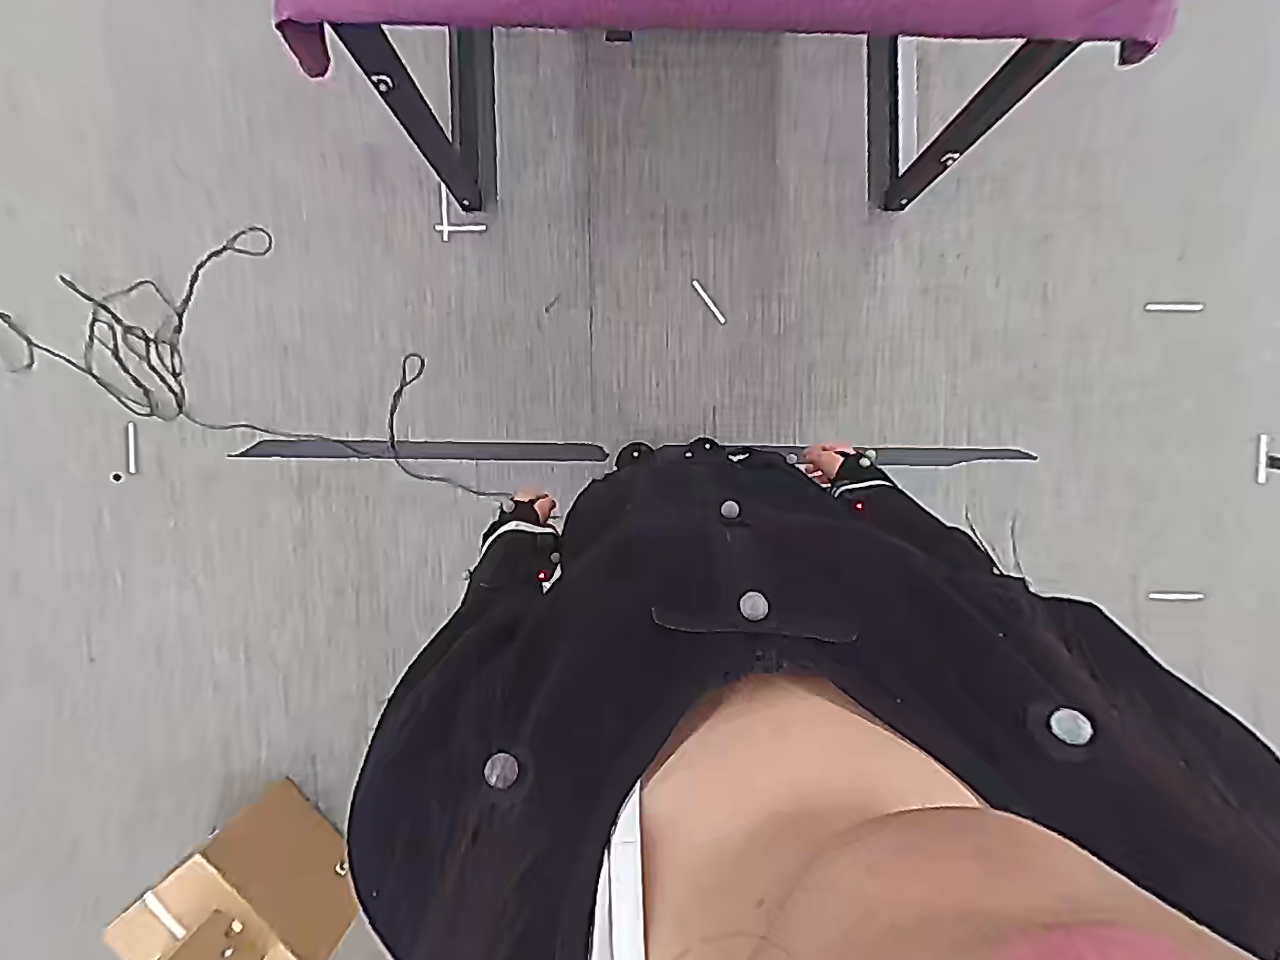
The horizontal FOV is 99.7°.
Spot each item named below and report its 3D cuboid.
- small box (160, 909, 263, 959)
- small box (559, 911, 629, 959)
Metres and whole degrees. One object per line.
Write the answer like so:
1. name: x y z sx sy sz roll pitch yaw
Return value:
1. small box: -0.972 1.093 1.159 0.179 0.176 0.168 -41 92 1
2. small box: -0.119 1.329 1.467 0.168 0.176 0.179 -10 92 -1
